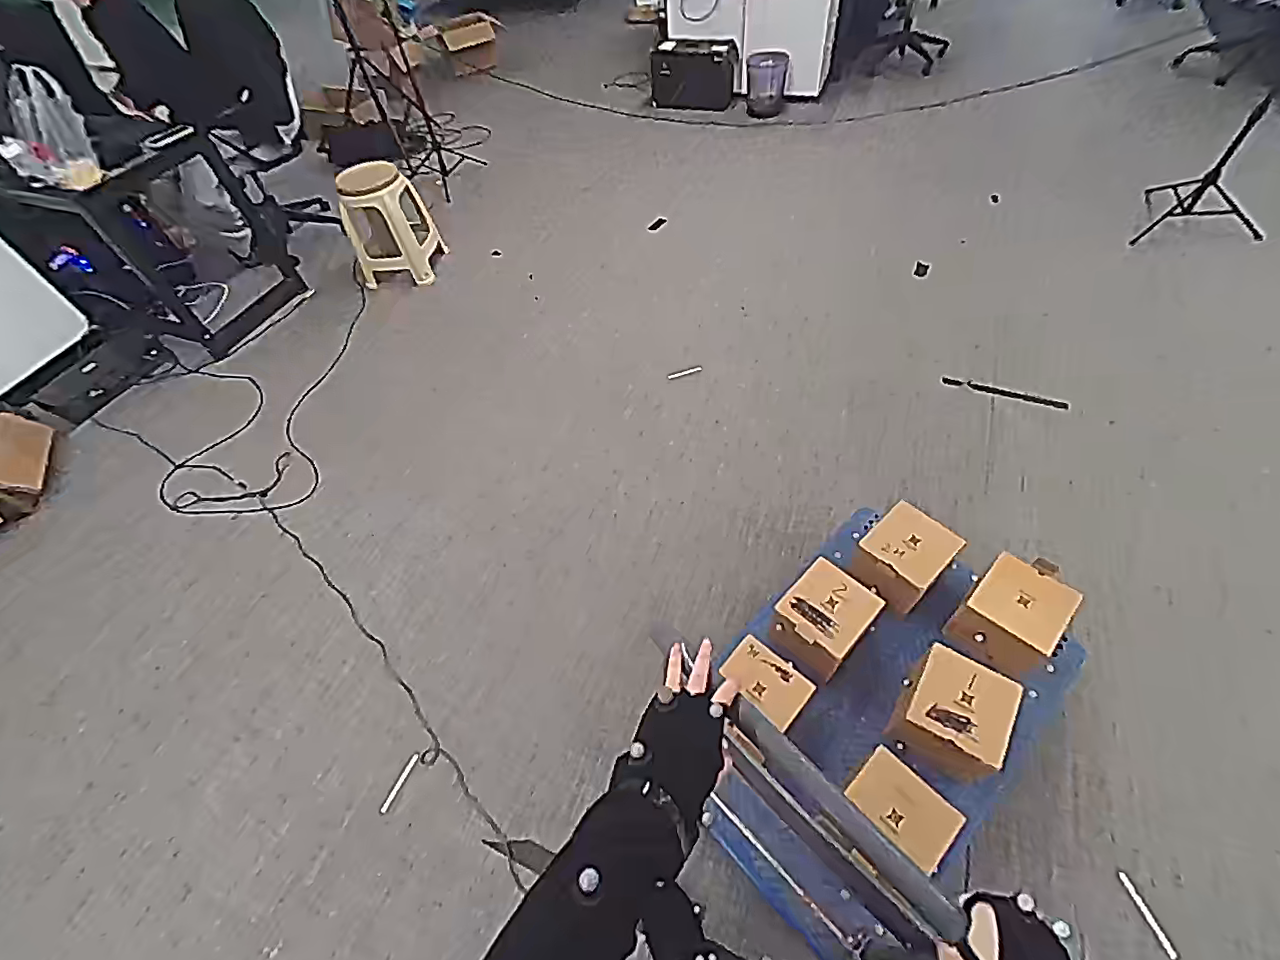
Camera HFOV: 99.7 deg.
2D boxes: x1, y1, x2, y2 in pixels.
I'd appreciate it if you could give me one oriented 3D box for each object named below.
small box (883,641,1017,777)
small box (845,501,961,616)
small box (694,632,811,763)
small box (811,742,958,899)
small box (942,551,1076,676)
[{"bbox_3d":[0.615,0.468,1.093,0.168,0.176,0.179,27,60,24],"label":"small box"},{"bbox_3d":[0.619,0.191,1.296,0.179,0.176,0.168,-37,58,-19],"label":"small box"},{"bbox_3d":[0.231,0.462,1.137,0.168,0.176,0.179,36,65,27],"label":"small box"},{"bbox_3d":[0.436,0.627,0.997,0.179,0.176,0.168,-38,59,-21],"label":"small box"},{"bbox_3d":[0.803,0.300,1.198,0.168,0.176,0.179,36,65,28],"label":"small box"}]
